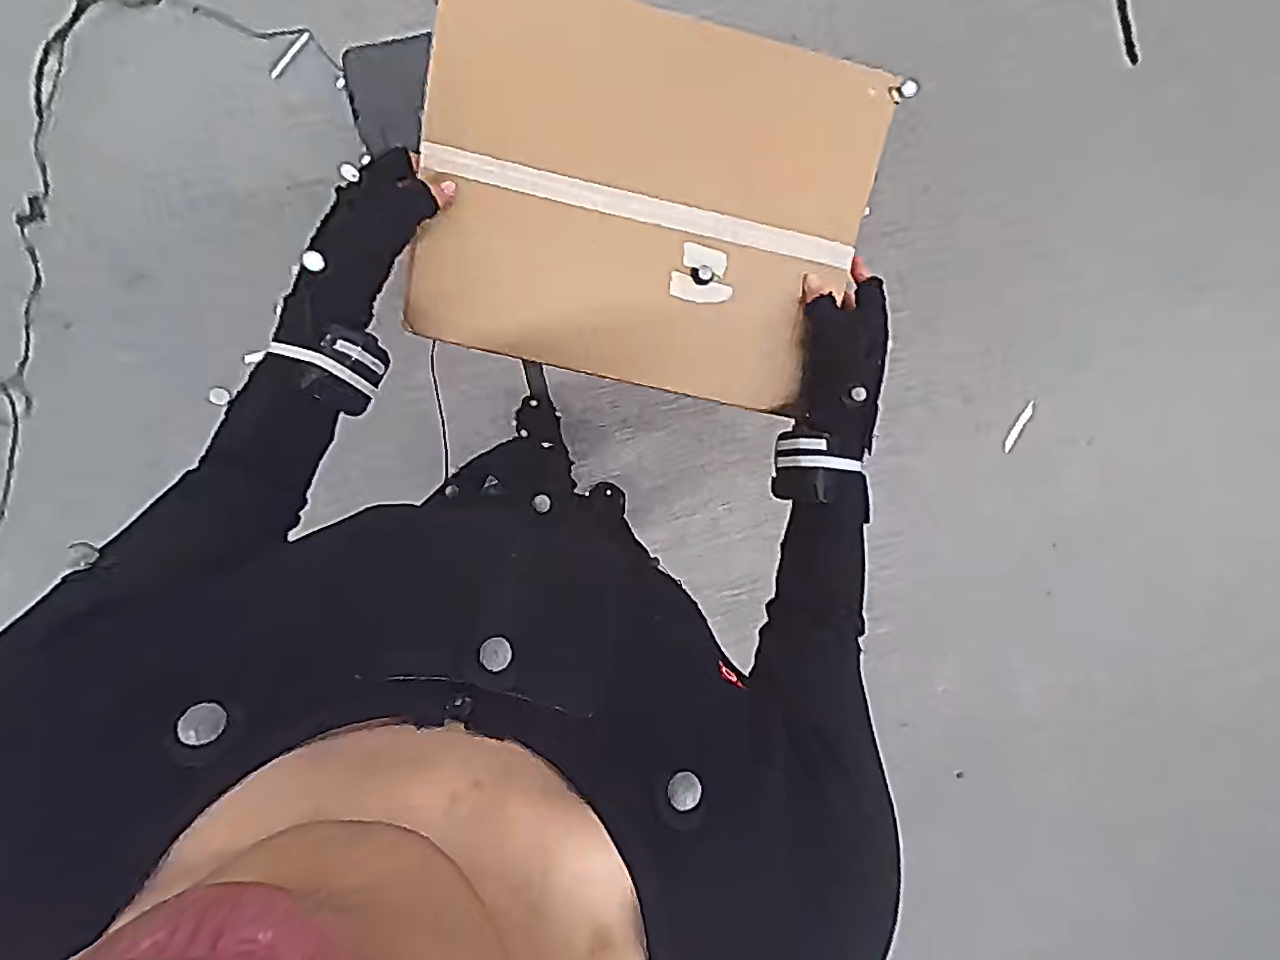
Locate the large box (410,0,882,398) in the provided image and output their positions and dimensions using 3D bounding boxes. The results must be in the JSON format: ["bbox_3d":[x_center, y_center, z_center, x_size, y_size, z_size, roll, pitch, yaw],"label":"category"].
[{"bbox_3d":[-0.010,-0.294,0.646,0.408,0.320,0.320,10,104,-5],"label":"large box"}]
